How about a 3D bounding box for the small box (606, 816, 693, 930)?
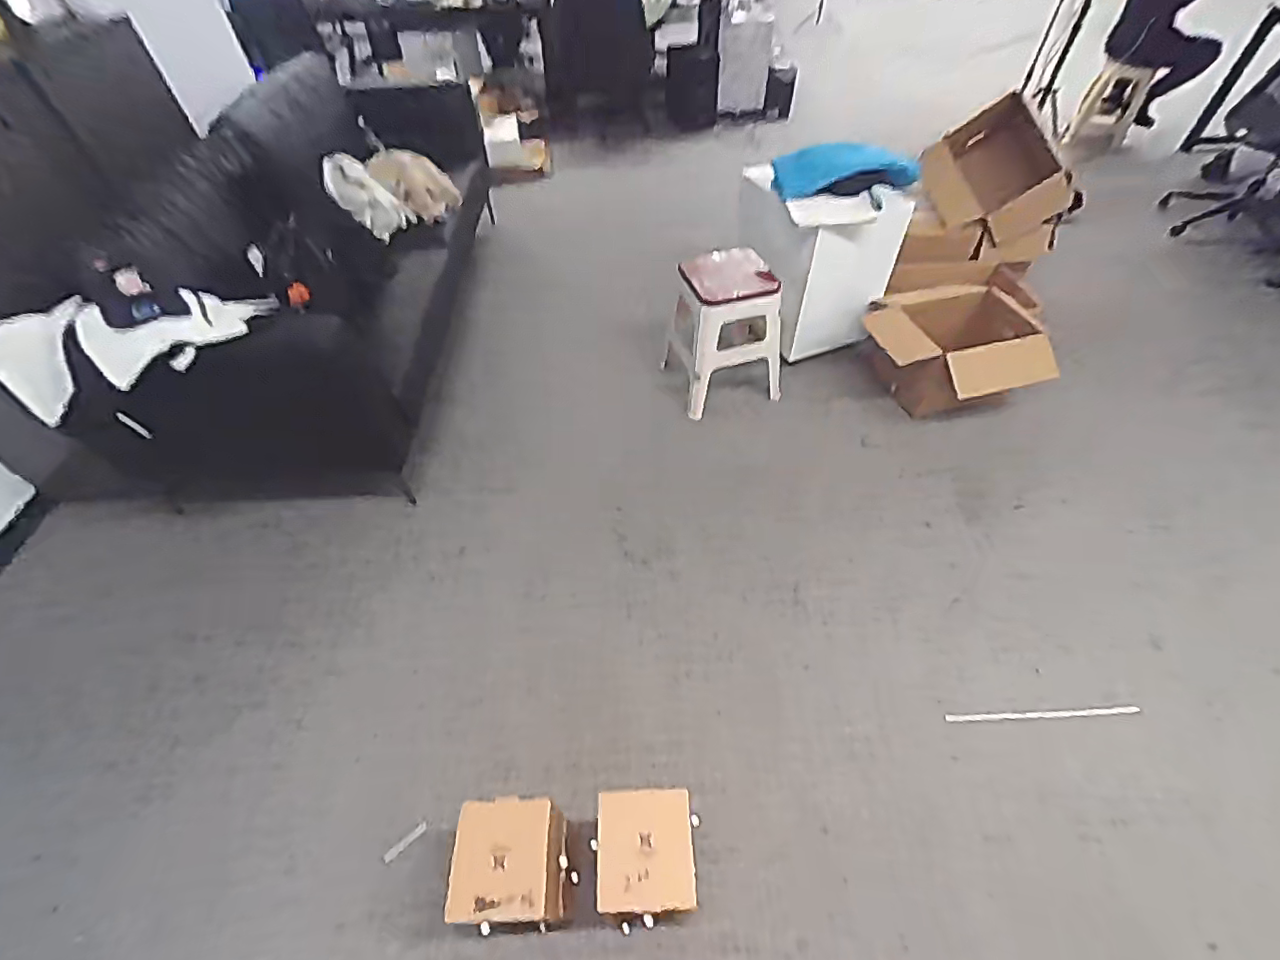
[{"bbox_3d":[0.020,0.808,1.109,0.168,0.176,0.179,-3,48,0],"label":"small box"}]
